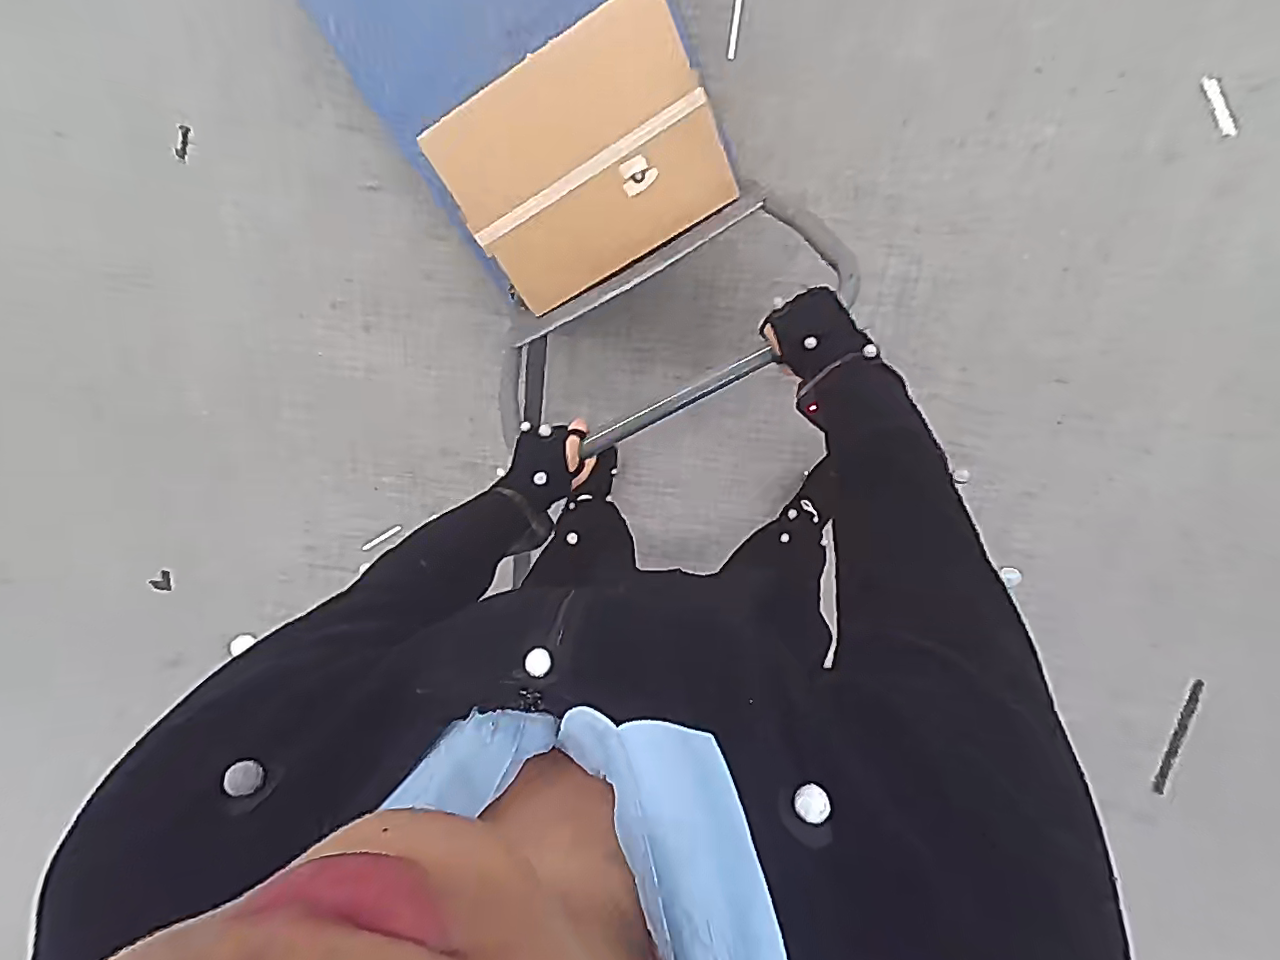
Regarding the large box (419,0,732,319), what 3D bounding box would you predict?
[{"bbox_3d":[-0.108,-0.561,0.967,0.408,0.320,0.320,-28,124,10],"label":"large box"}]
